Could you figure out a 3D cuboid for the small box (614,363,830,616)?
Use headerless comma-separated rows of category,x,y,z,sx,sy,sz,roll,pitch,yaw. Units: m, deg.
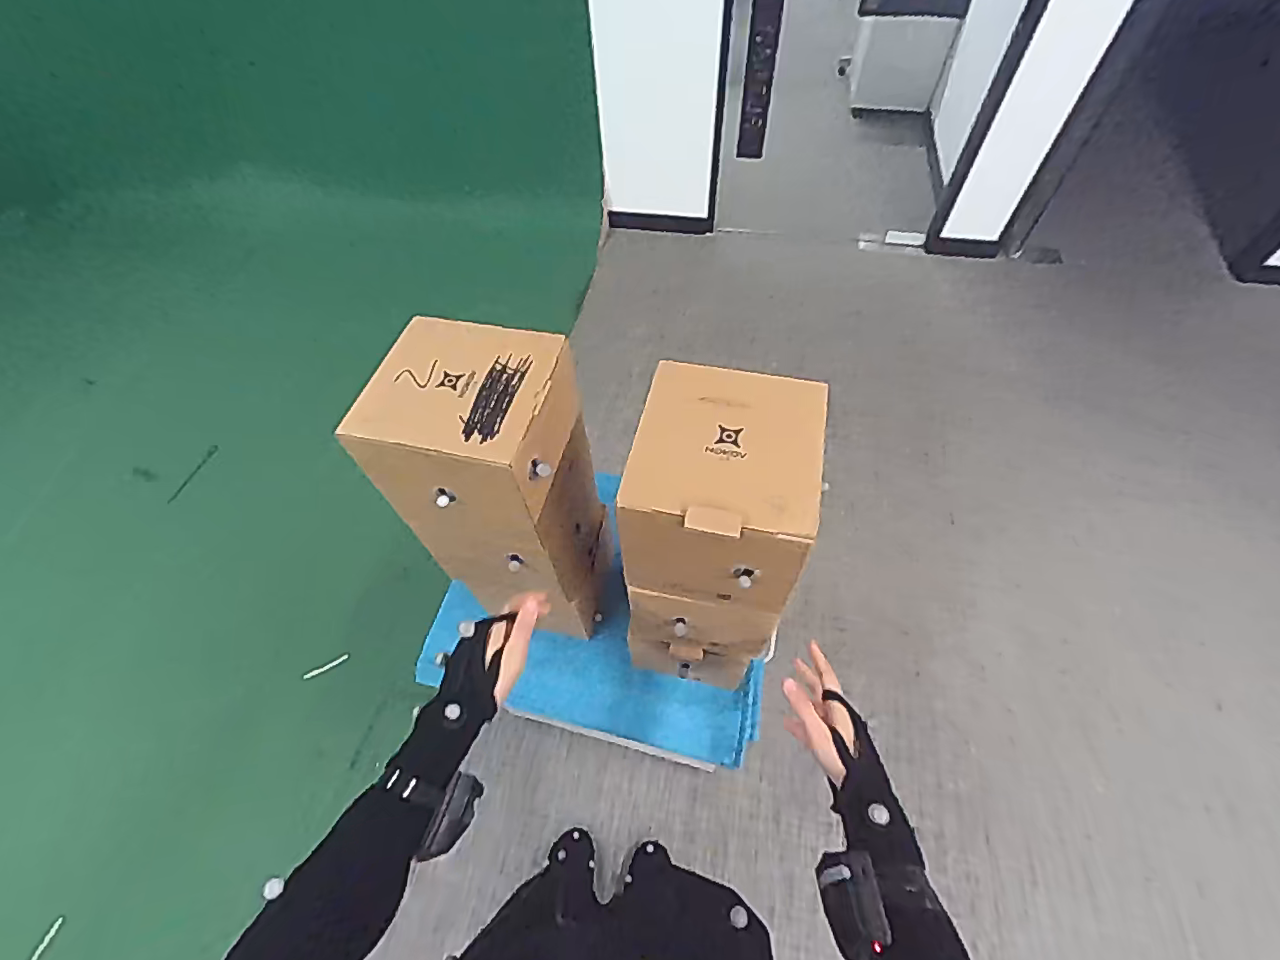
small box,0.080,0.015,0.538,0.168,0.176,0.179,11,55,9

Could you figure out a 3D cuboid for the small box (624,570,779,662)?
small box,0.082,0.109,0.671,0.168,0.176,0.179,9,55,8

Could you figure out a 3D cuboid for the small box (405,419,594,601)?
small box,-0.167,0.046,0.717,0.179,0.176,0.168,10,56,8

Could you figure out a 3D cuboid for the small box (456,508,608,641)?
small box,-0.155,0.139,0.852,0.179,0.176,0.168,10,56,8

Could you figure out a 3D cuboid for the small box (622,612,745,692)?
small box,0.078,0.199,0.806,0.168,0.176,0.179,11,57,9
